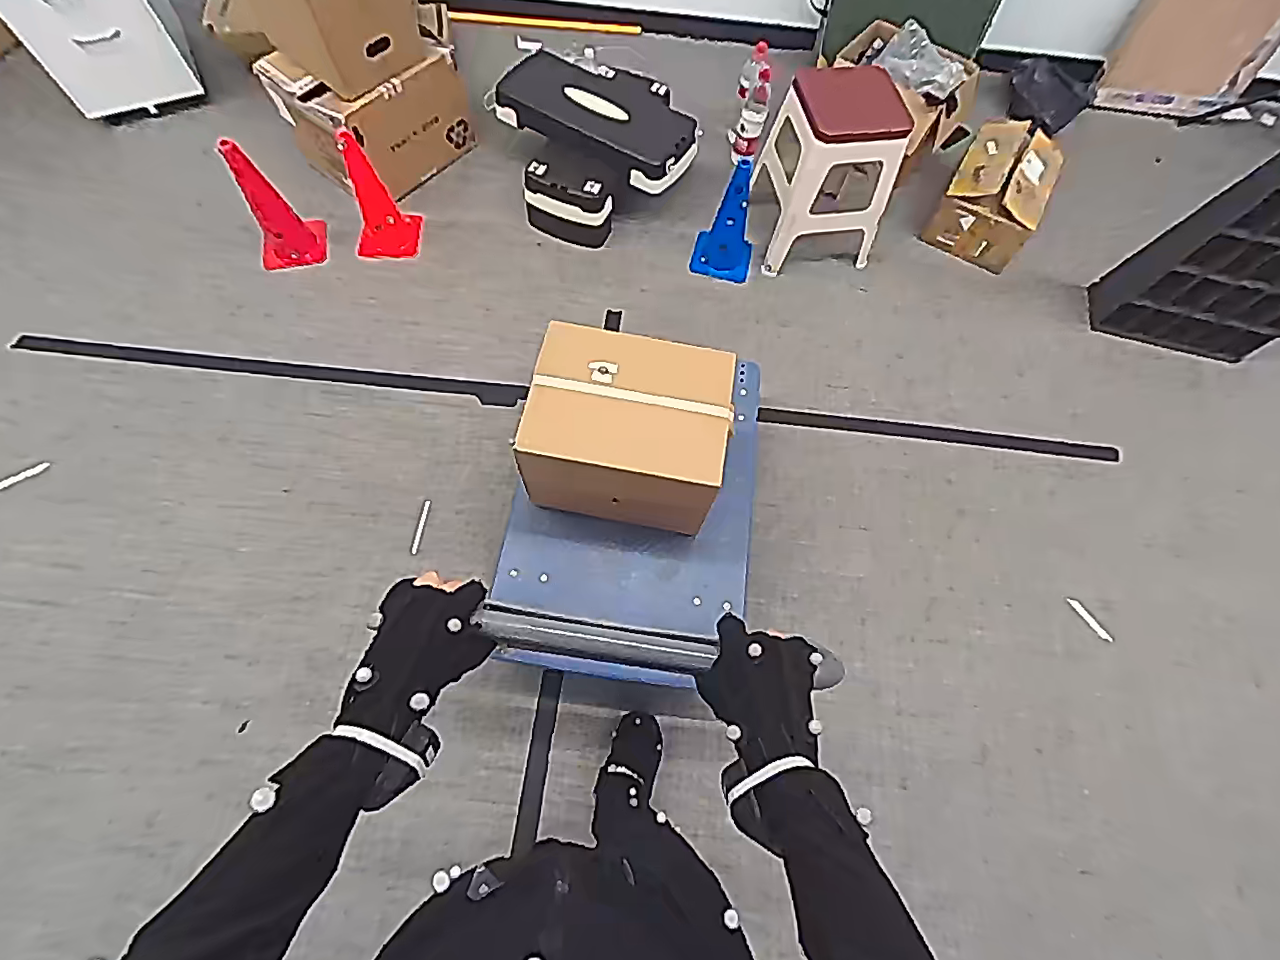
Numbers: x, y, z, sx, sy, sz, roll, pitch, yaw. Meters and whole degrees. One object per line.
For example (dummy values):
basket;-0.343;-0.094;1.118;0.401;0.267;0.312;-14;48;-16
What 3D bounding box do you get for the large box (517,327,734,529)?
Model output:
large box;-0.023;-0.101;1.228;0.408;0.320;0.320;10;67;2
